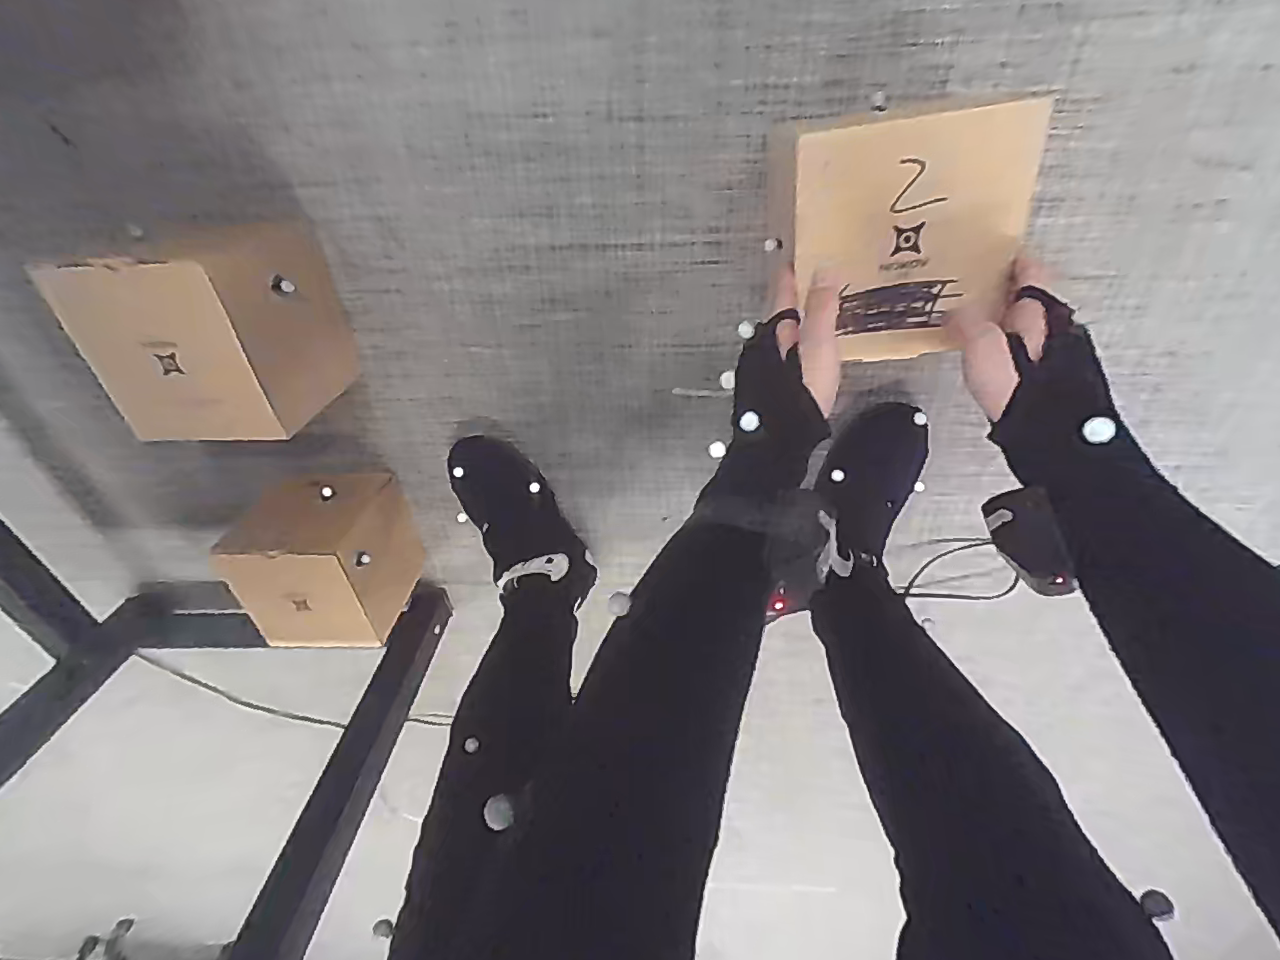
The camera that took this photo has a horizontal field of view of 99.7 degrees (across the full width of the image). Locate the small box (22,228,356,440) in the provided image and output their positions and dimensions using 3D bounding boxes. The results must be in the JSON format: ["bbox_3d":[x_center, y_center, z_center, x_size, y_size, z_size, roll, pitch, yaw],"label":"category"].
[{"bbox_3d":[-0.438,-0.158,0.567,0.168,0.176,0.179,0,126,5],"label":"small box"}]

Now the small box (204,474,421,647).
[{"bbox_3d":[-0.432,0.109,0.753,0.168,0.176,0.179,-1,124,5],"label":"small box"}]
